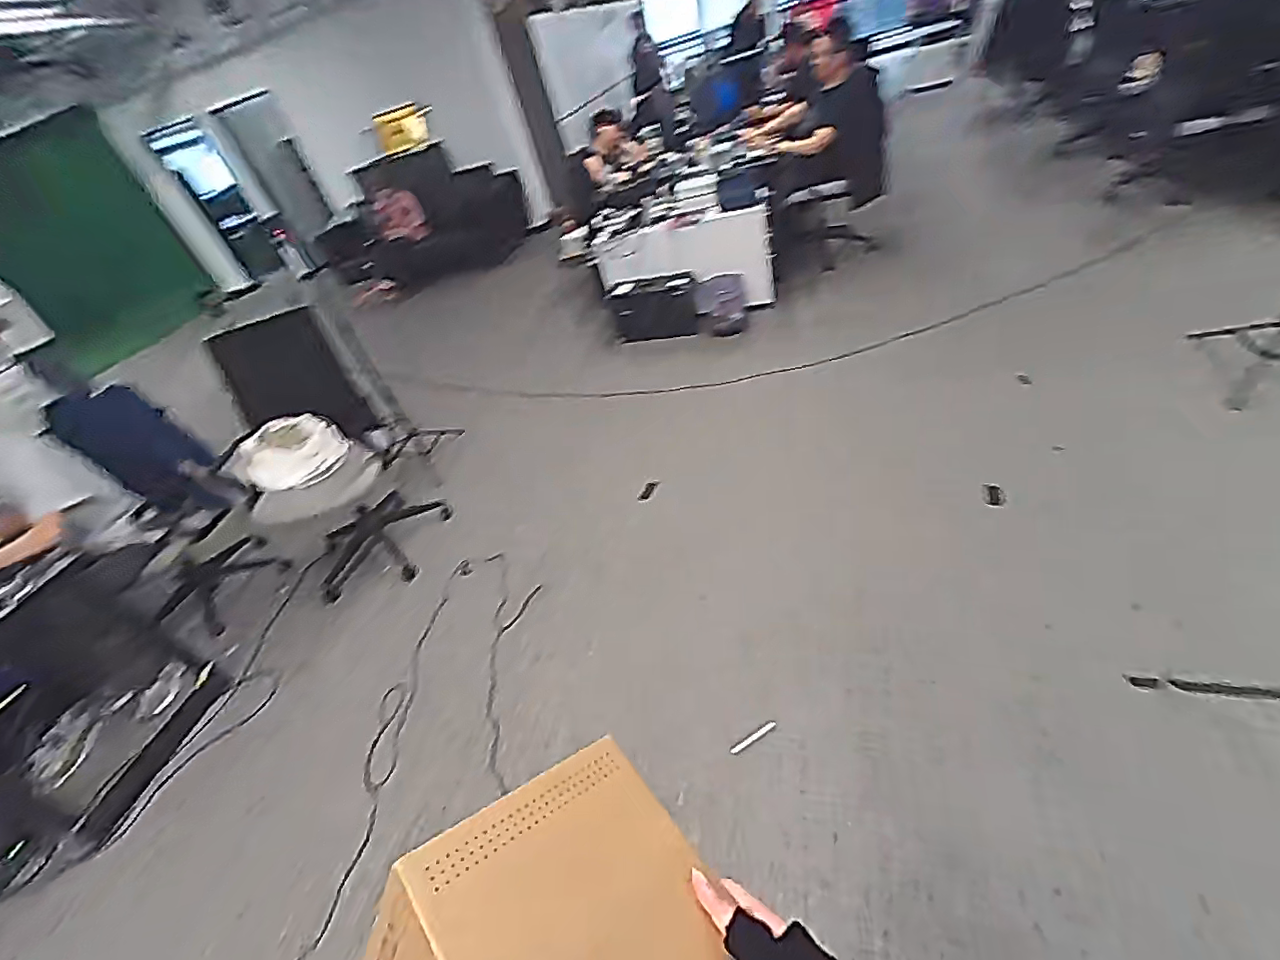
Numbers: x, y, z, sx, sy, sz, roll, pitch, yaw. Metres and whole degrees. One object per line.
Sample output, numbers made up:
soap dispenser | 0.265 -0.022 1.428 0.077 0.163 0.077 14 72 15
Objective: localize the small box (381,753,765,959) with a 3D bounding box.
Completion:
small box | -0.057 0.332 0.366 0.179 0.168 0.176 -8 41 -46
